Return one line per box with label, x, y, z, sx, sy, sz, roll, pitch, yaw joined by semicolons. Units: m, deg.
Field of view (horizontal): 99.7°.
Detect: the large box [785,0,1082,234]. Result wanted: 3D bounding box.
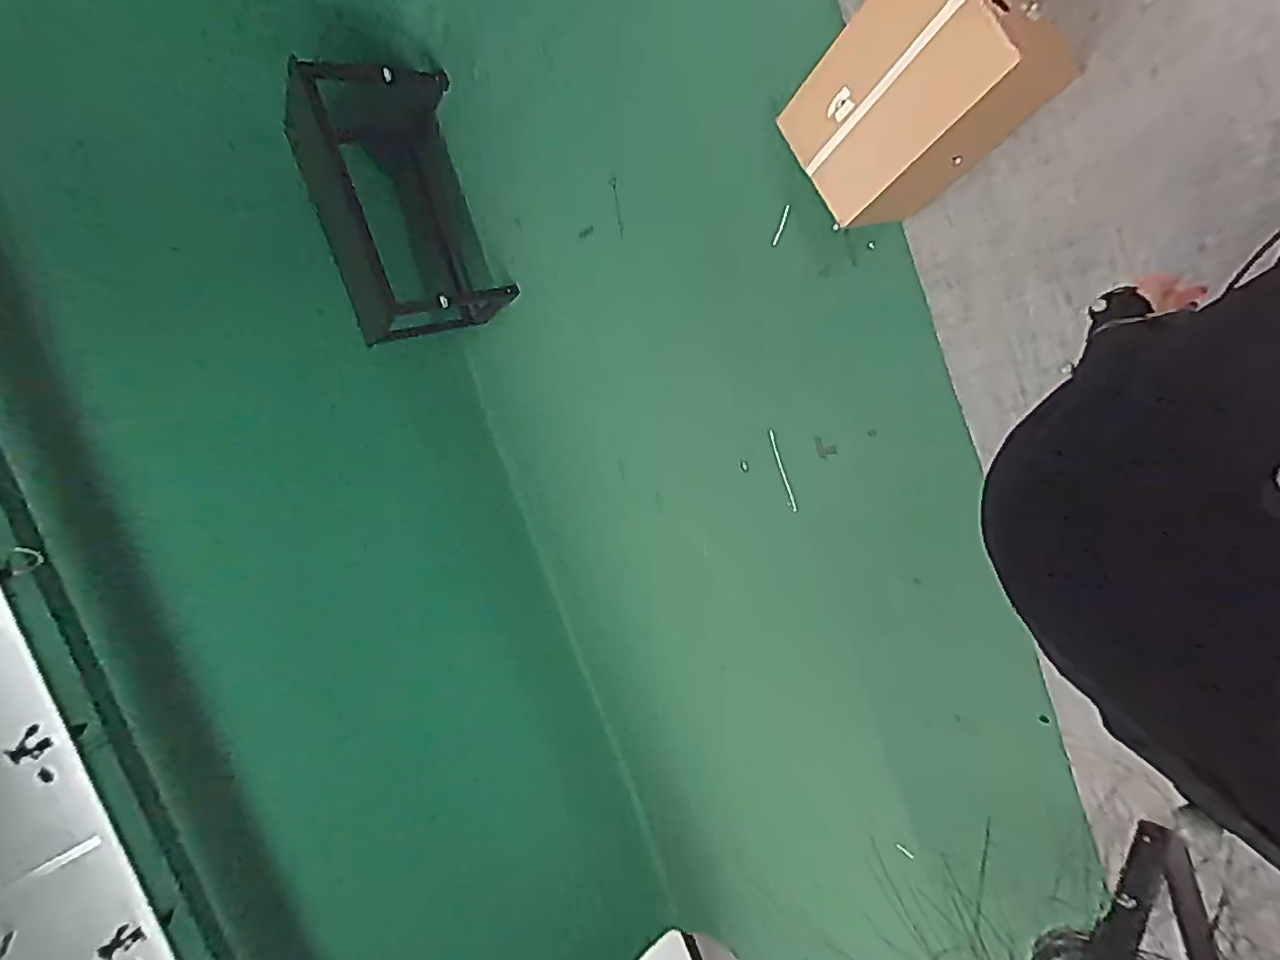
large box;0.609;-0.813;1.167;0.320;0.320;0.408;63;147;7
